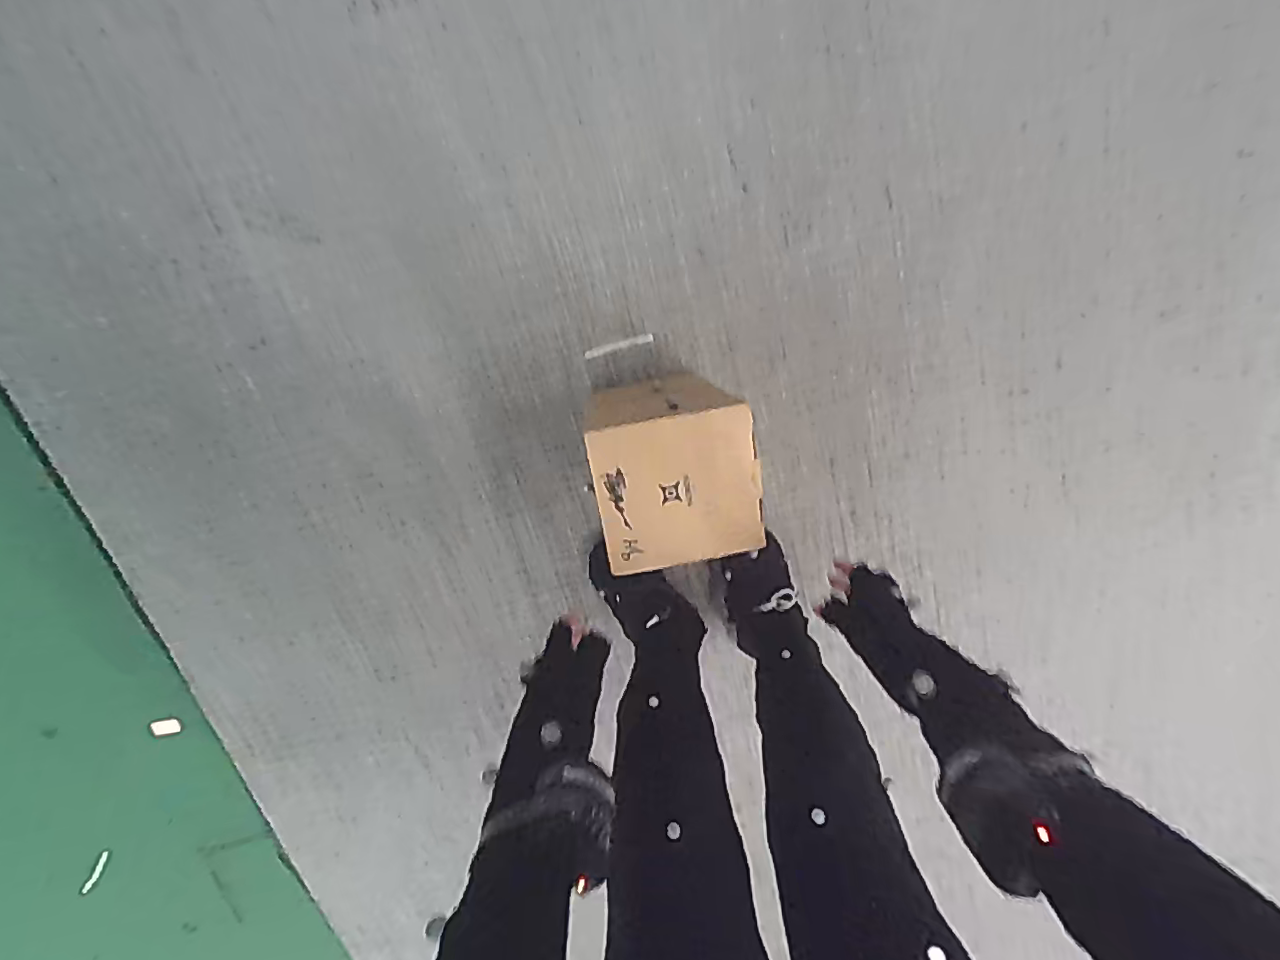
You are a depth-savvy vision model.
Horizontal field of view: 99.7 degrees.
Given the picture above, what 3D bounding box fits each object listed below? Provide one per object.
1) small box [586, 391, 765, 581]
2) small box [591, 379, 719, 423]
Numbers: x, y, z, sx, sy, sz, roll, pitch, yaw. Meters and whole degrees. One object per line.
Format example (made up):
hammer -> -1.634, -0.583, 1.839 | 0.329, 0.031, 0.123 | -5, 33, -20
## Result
small box -> 0.036, -0.004, 0.659 | 0.179, 0.176, 0.168 | -12, 108, 0
small box -> 0.026, -0.051, 0.812 | 0.179, 0.176, 0.168 | -10, 106, 0
